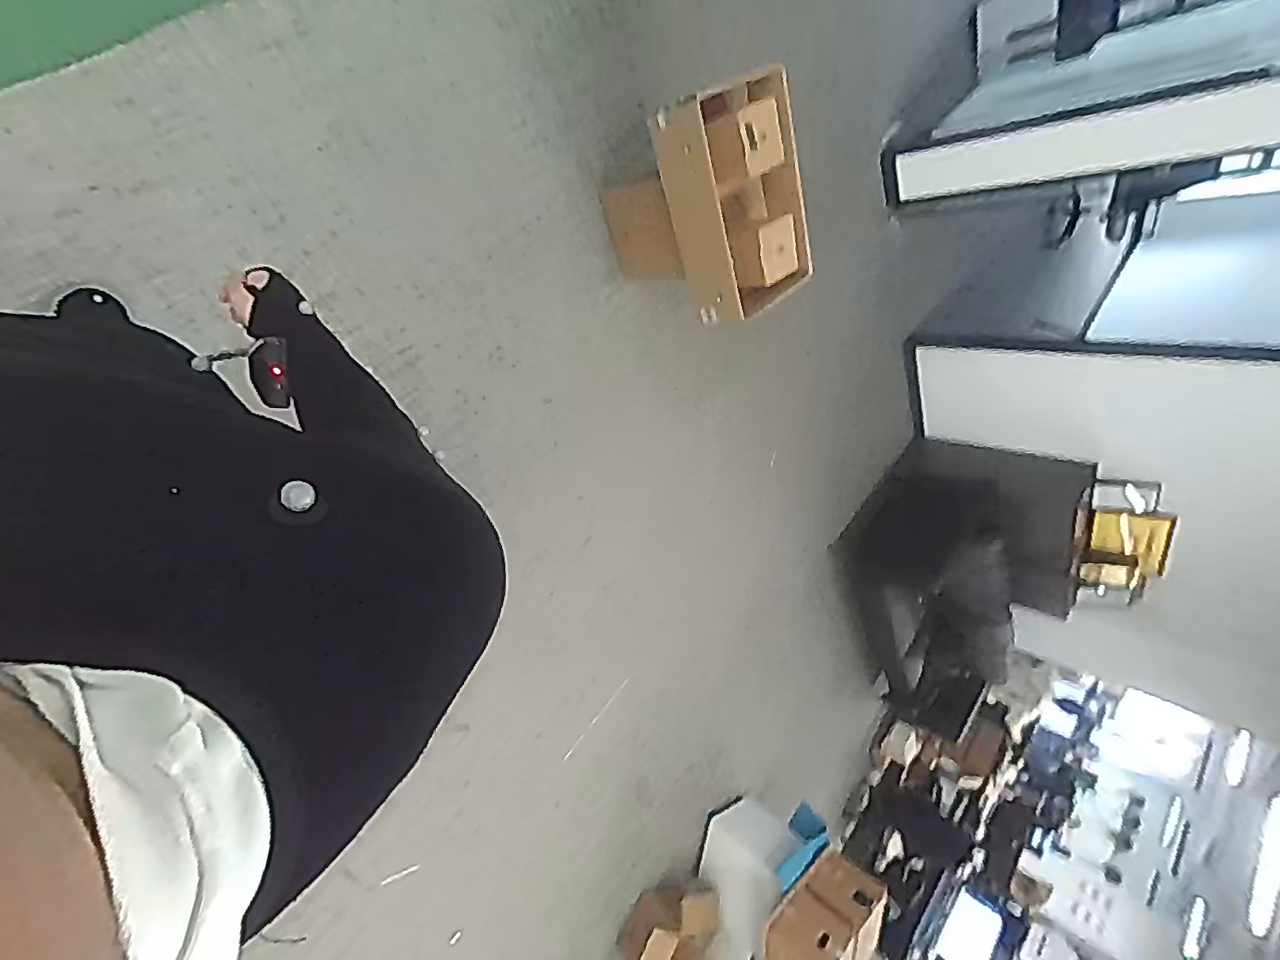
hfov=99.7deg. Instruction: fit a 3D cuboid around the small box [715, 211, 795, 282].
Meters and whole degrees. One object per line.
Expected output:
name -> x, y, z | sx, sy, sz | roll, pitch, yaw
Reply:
small box -> 0.364, -0.736, 1.709 | 0.179, 0.176, 0.168 | -36, 125, -29
